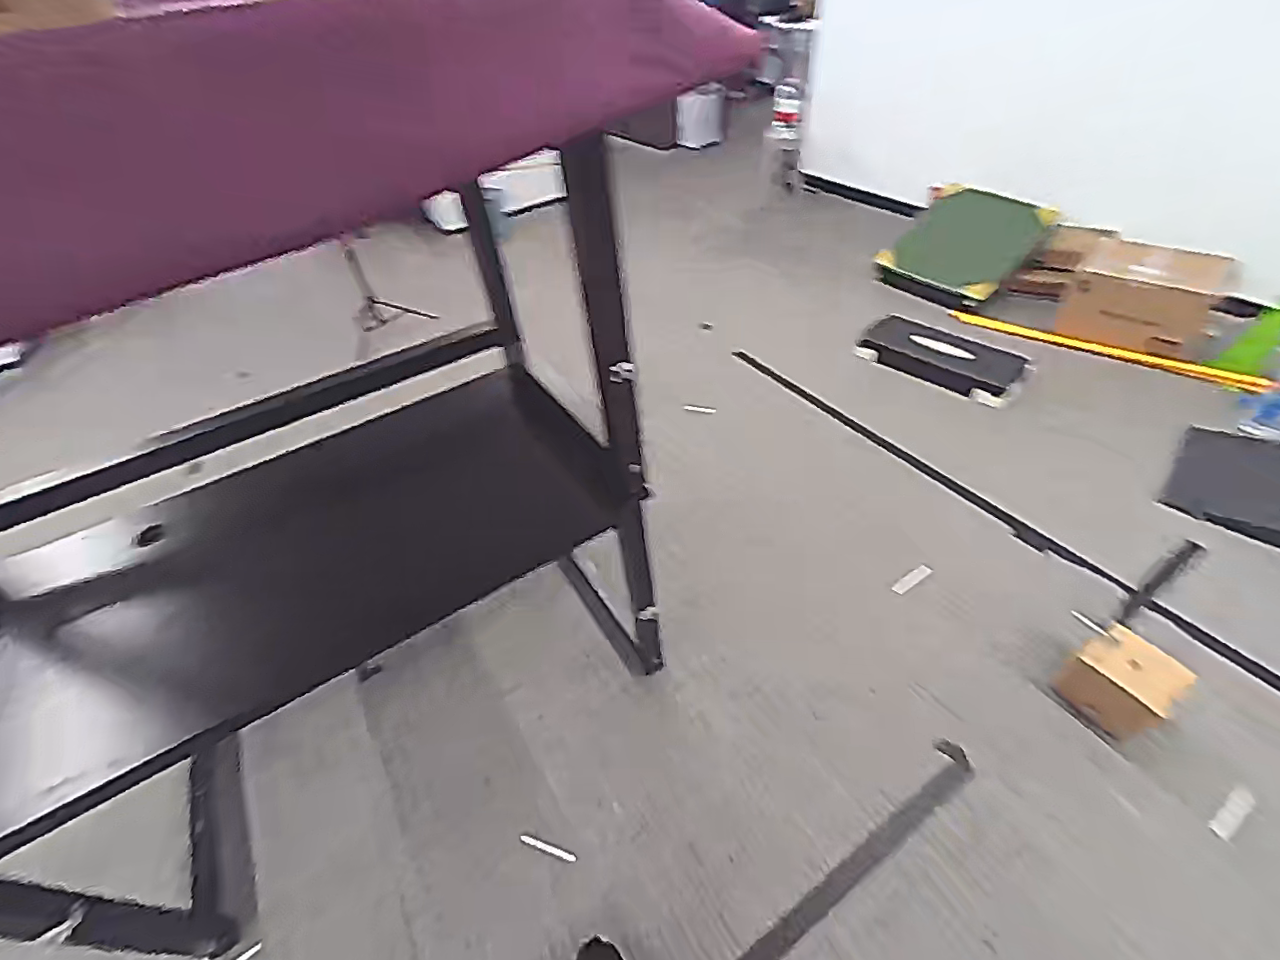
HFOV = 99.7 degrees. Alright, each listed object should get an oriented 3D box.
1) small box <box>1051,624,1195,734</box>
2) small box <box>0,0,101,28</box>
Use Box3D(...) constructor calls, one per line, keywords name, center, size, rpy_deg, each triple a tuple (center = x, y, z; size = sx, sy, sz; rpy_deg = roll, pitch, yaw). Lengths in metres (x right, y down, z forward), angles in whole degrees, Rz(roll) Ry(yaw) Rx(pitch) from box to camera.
Box3D(name="small box", center=(1.177, 0.497, 1.331), size=(0.168, 0.176, 0.179), rpy_deg=(-28, 50, -20))
Box3D(name="small box", center=(-0.528, -0.418, 0.370), size=(0.168, 0.176, 0.179), rpy_deg=(-29, 49, -20))
